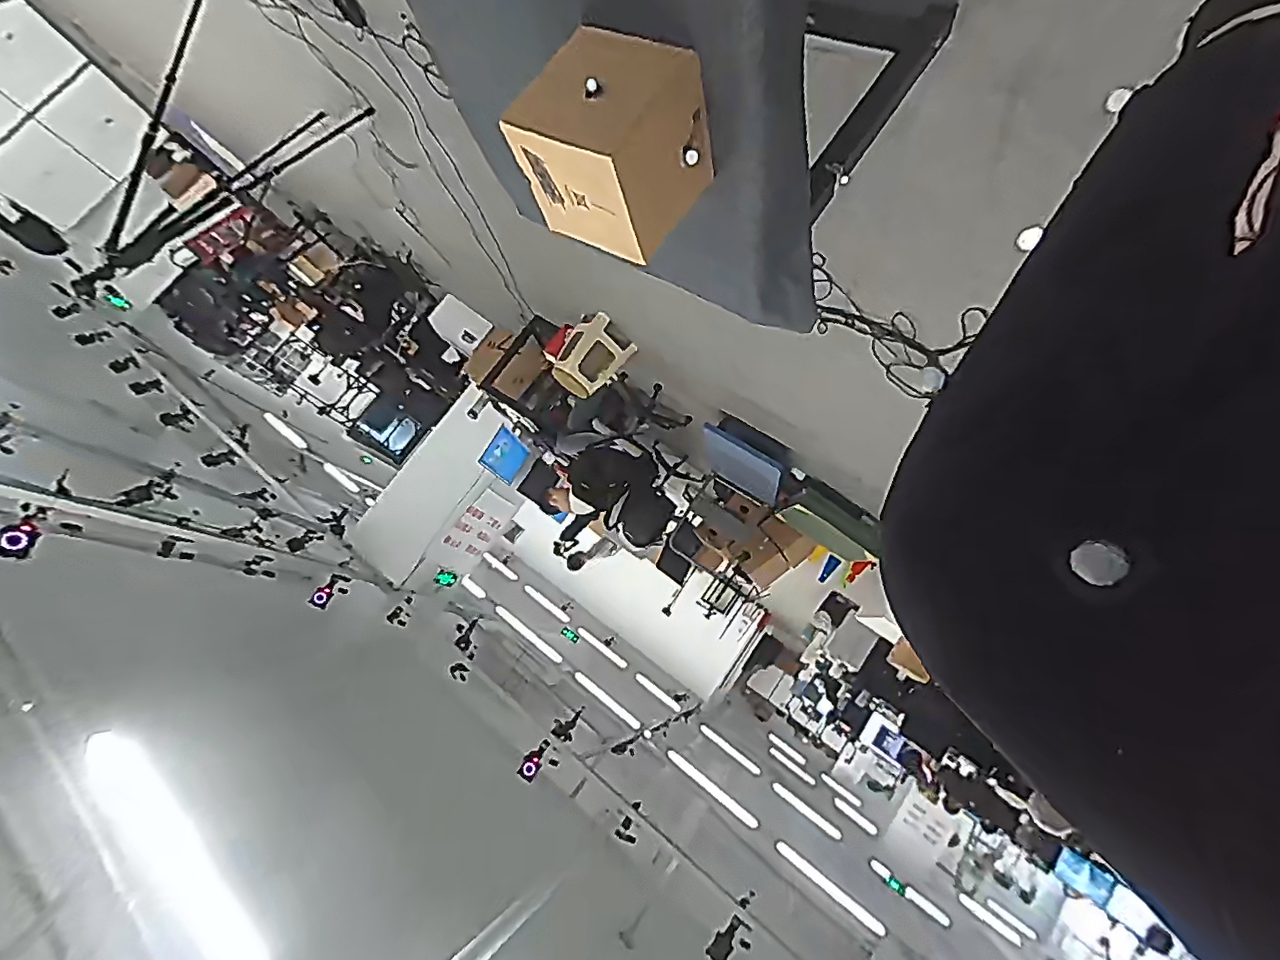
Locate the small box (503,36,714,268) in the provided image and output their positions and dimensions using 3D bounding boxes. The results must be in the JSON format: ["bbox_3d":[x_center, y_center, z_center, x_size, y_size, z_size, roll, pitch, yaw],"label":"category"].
[{"bbox_3d":[-0.030,-0.412,0.682,0.179,0.176,0.168,31,170,23],"label":"small box"}]
